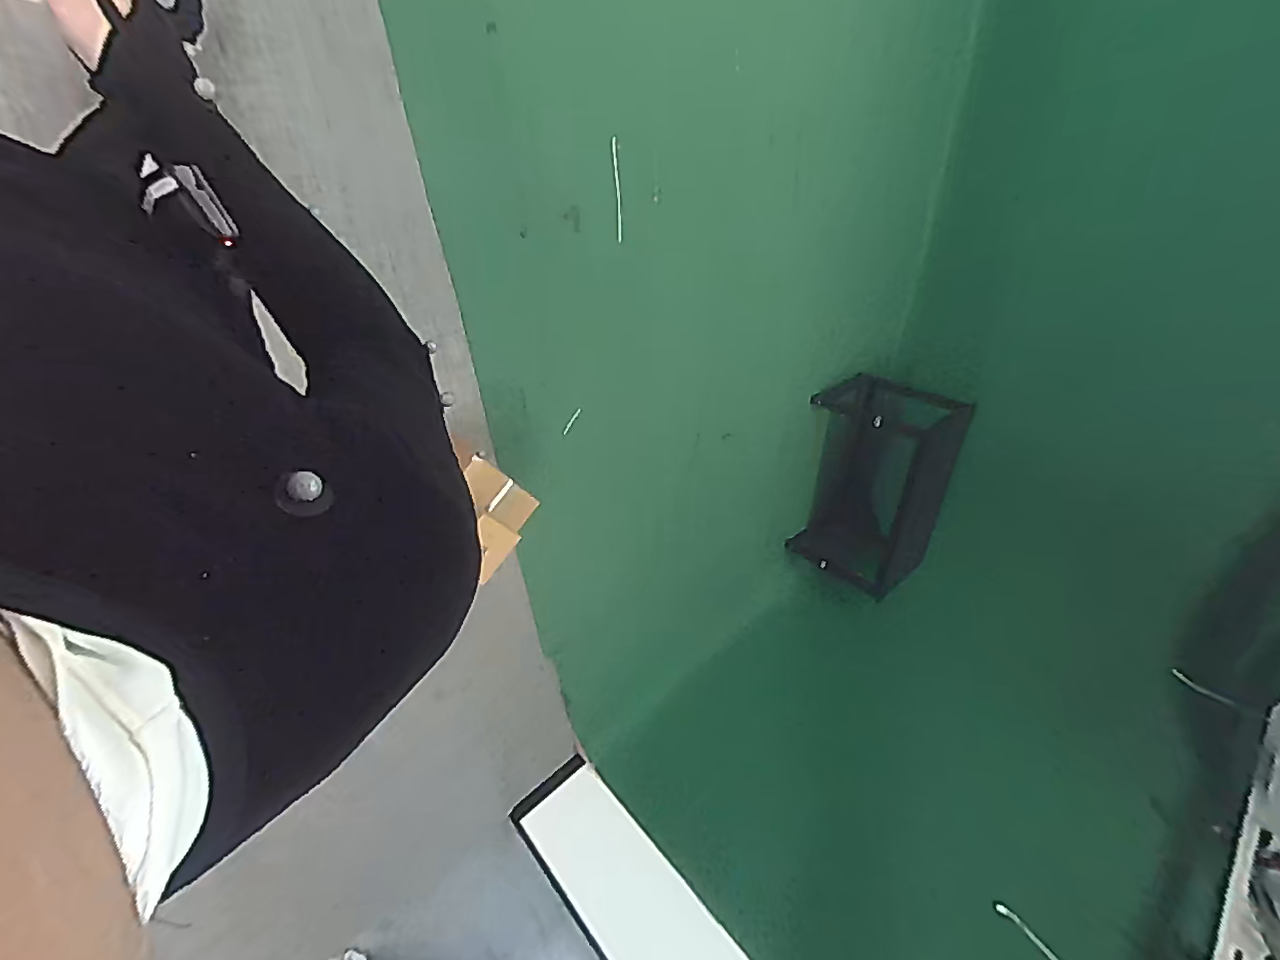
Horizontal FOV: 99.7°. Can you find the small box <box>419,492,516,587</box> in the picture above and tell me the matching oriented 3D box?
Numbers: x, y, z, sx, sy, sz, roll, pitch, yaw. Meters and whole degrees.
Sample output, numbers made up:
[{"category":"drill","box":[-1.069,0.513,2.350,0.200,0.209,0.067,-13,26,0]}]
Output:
[{"category":"small box","box":[-0.492,0.166,1.521,0.179,0.176,0.168,-52,140,-8]}]
